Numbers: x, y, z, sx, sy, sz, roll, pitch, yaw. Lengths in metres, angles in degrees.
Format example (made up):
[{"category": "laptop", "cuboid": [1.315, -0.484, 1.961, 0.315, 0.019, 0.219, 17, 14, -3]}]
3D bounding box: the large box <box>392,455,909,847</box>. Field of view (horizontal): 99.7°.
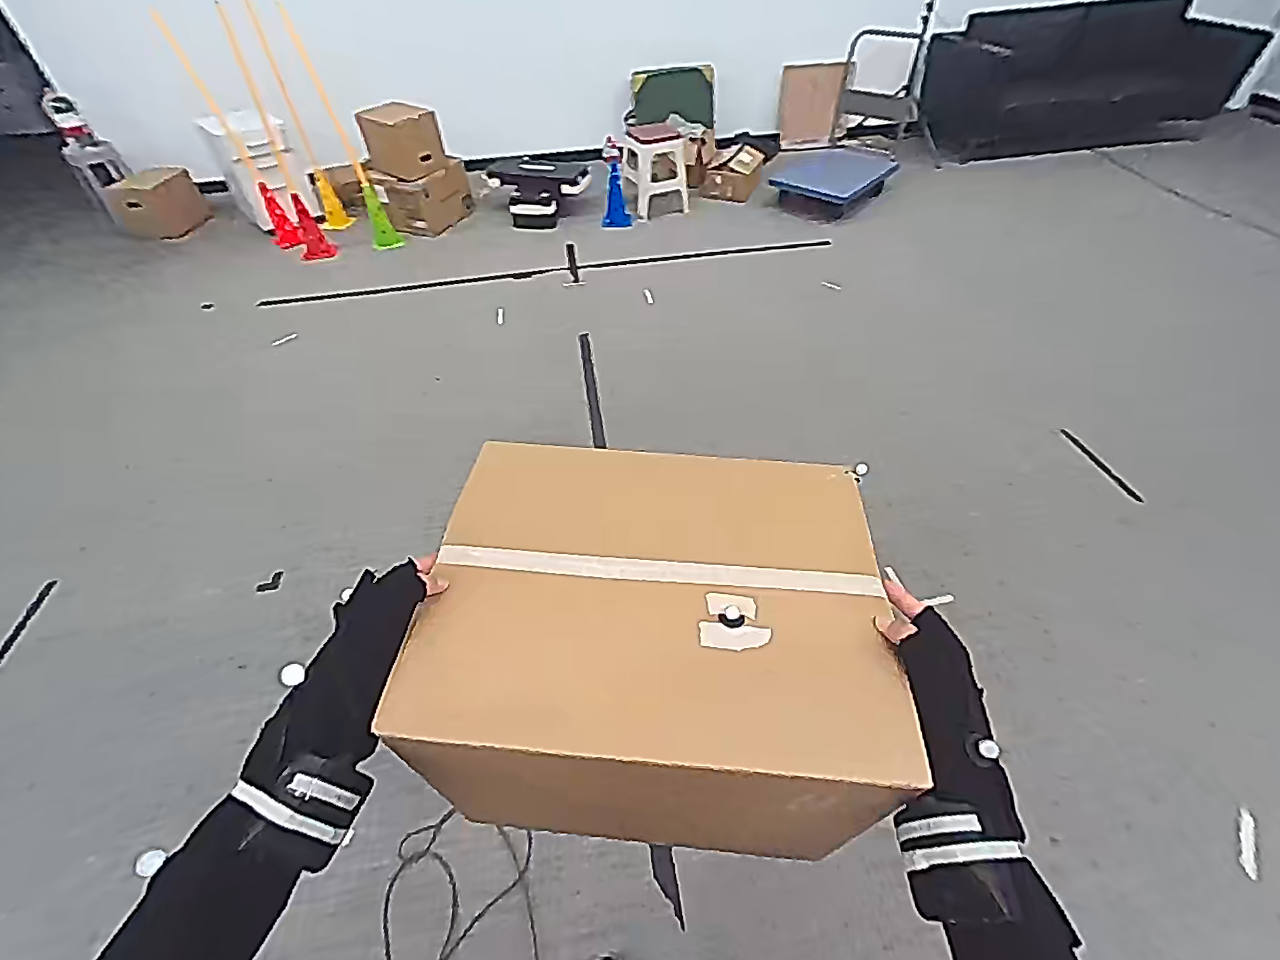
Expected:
[{"category": "large box", "cuboid": [0.012, 0.194, 0.616, 0.408, 0.320, 0.320, 4, 48, 3]}]
